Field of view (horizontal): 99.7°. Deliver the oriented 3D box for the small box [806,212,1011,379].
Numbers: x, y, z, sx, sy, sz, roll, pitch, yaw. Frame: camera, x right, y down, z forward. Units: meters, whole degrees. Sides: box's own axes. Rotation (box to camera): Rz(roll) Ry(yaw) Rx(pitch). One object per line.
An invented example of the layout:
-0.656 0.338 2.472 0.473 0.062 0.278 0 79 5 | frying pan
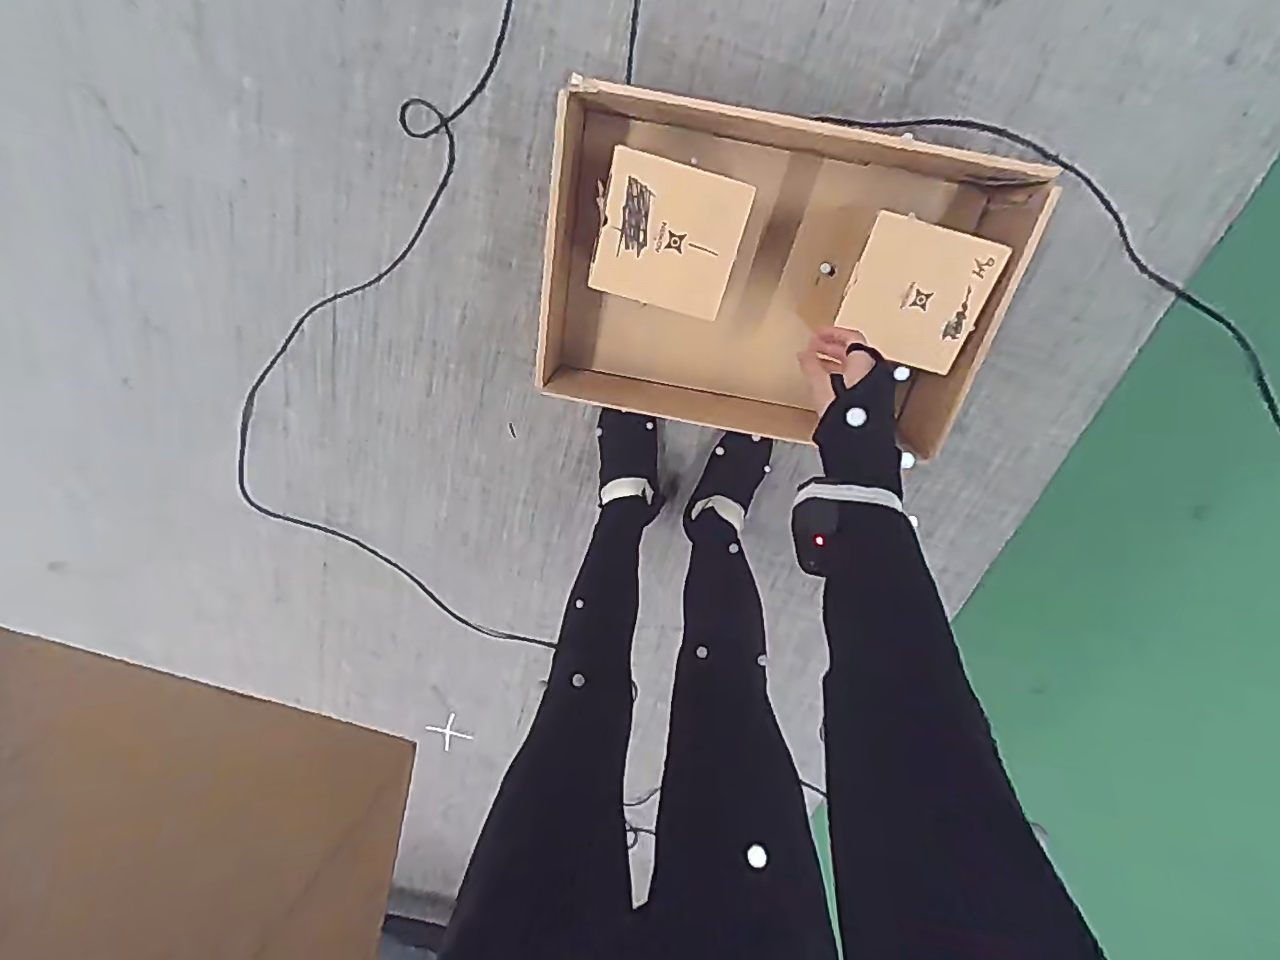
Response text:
0.355 -0.263 0.761 0.179 0.176 0.168 16 116 -4 | small box
